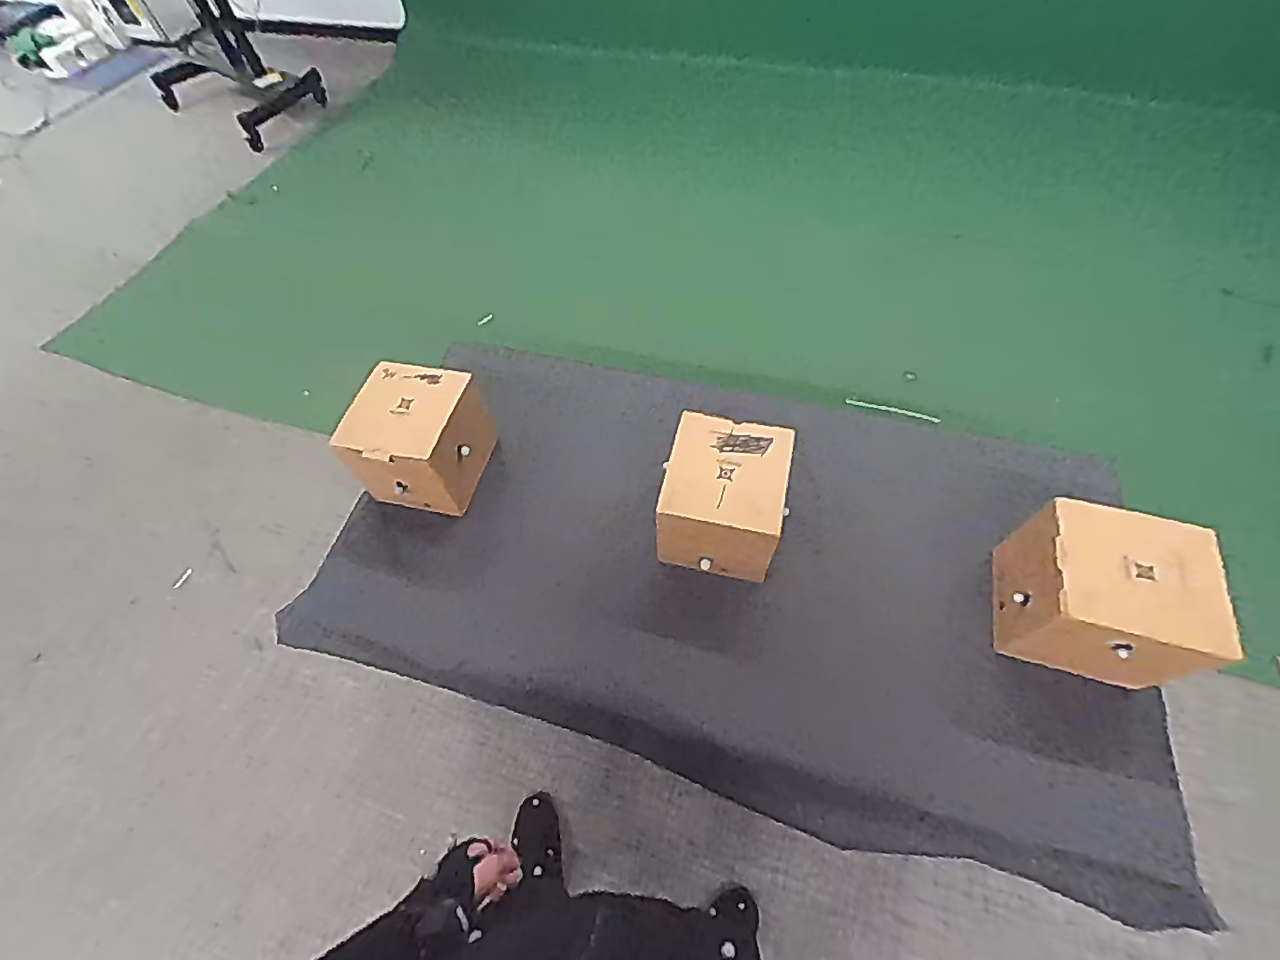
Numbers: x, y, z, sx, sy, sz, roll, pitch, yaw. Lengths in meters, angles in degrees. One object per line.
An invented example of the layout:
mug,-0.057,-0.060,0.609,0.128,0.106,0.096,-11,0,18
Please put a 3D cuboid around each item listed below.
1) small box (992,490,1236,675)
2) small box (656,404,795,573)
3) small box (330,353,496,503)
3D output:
small box,0.590,0.139,0.706,0.179,0.176,0.168,14,62,11
small box,0.124,0.016,0.809,0.168,0.176,0.179,11,61,10
small box,-0.359,-0.080,0.897,0.168,0.176,0.179,10,60,9
